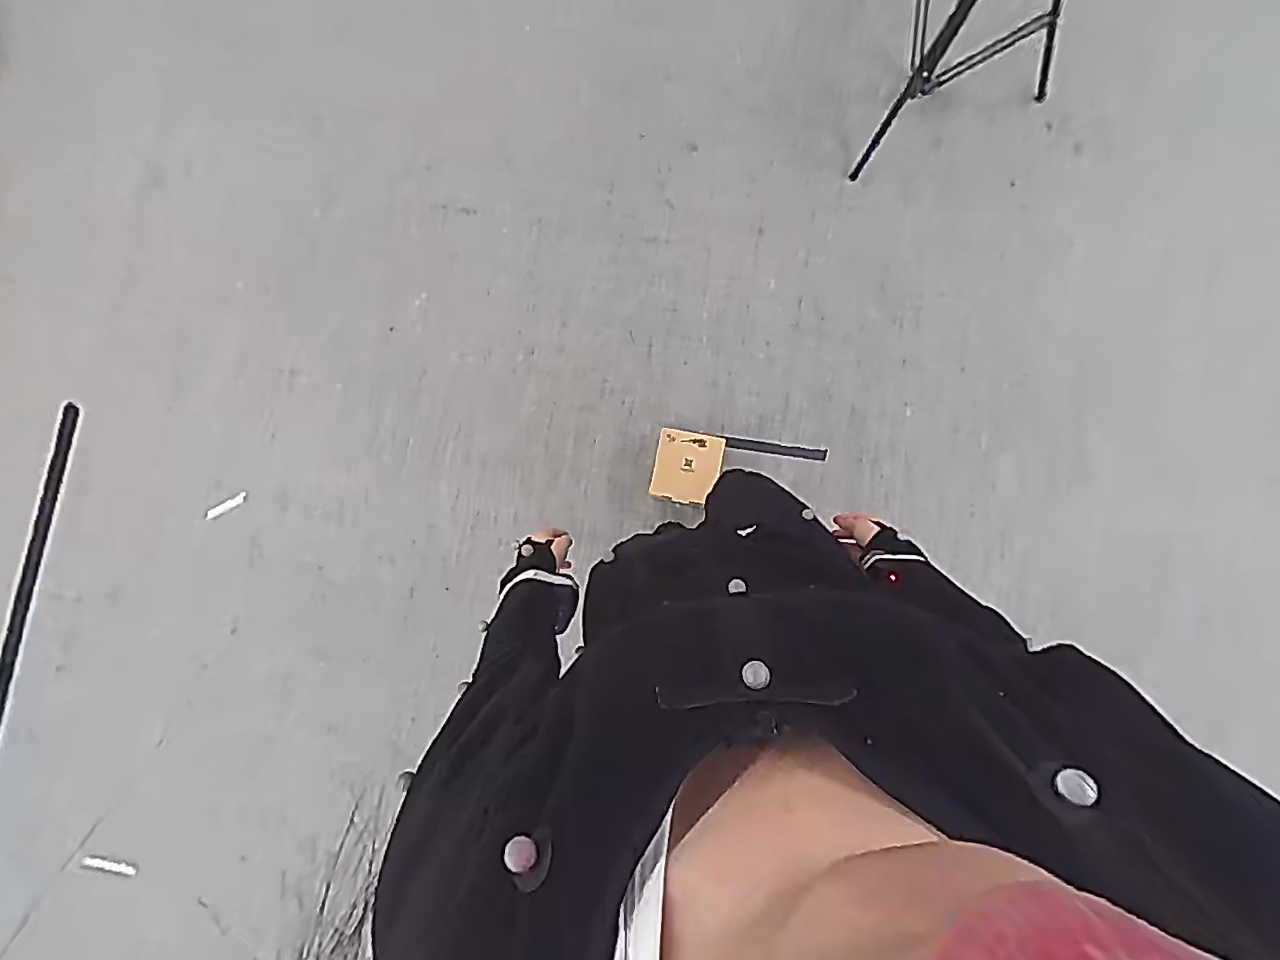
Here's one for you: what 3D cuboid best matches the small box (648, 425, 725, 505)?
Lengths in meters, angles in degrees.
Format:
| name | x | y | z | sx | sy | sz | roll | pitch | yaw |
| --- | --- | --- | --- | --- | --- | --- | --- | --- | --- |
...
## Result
| name | x | y | z | sx | sy | sz | roll | pitch | yaw |
| --- | --- | --- | --- | --- | --- | --- | --- | --- | --- |
| small box | 0.121 | -0.034 | 1.431 | 0.168 | 0.176 | 0.179 | 12 | 87 | 2 |
